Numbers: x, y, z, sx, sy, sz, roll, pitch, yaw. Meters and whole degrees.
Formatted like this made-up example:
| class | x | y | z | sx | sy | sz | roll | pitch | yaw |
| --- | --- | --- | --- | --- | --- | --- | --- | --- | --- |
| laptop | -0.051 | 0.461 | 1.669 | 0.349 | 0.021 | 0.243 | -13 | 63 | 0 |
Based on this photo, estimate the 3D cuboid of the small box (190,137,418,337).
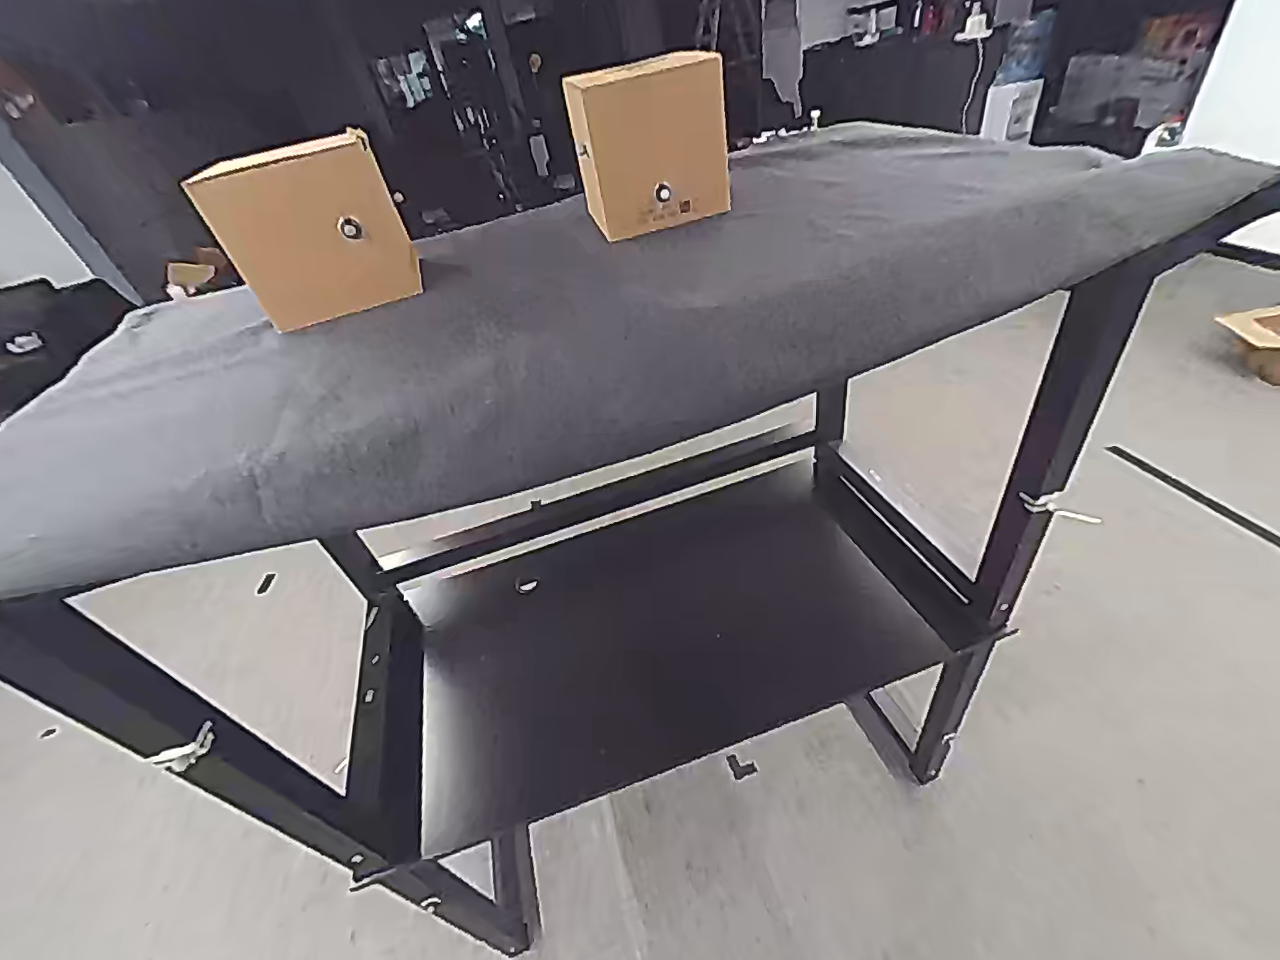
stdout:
| class | x | y | z | sx | sy | sz | roll | pitch | yaw |
| --- | --- | --- | --- | --- | --- | --- | --- | --- | --- |
| small box | -0.388 | -0.301 | 0.668 | 0.179 | 0.176 | 0.168 | -20 | 40 | -9 |
